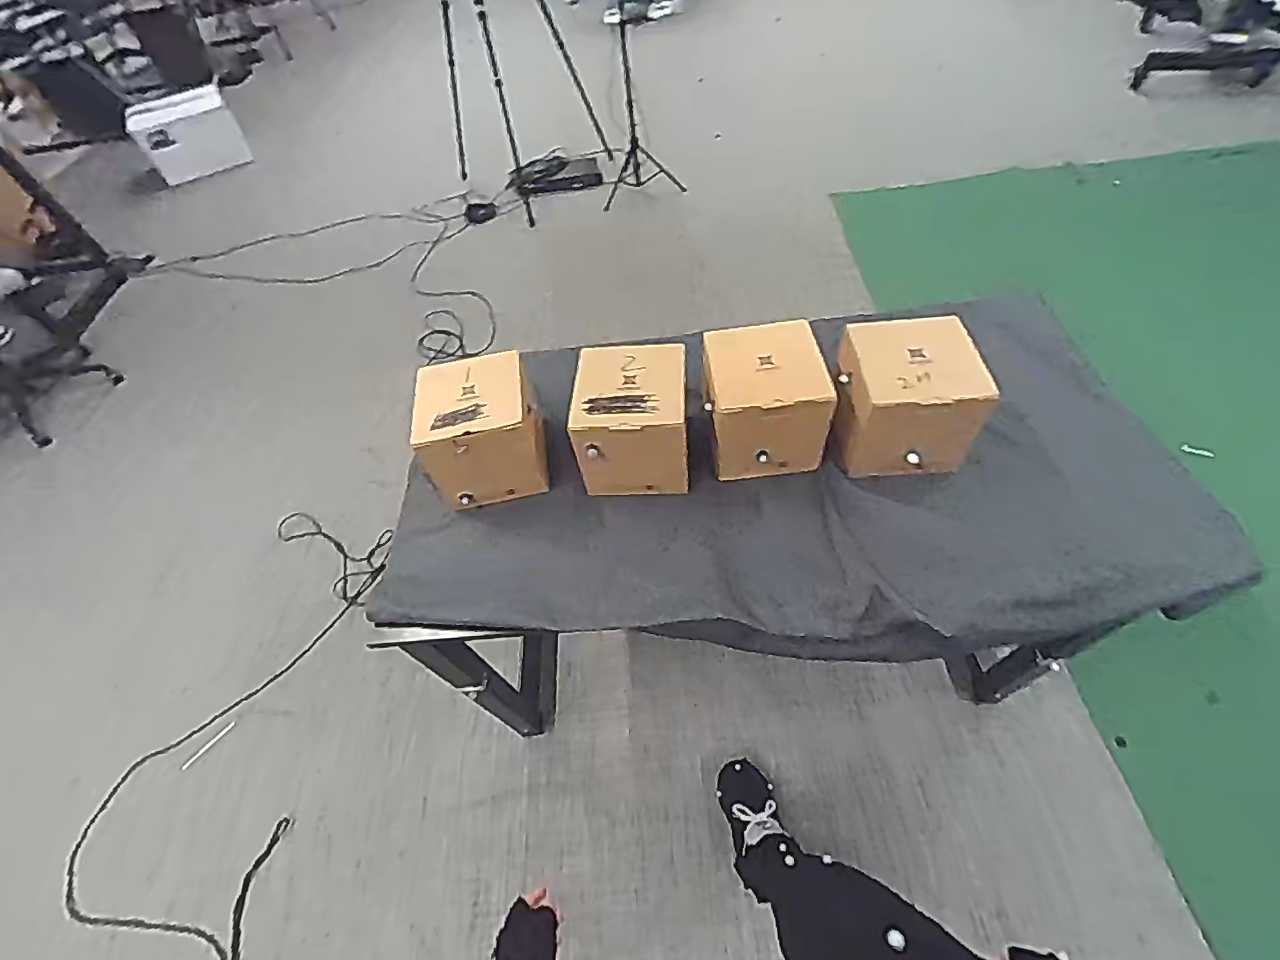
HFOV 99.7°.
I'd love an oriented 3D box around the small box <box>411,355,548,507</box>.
[{"bbox_3d":[-0.252,-0.072,0.886,0.168,0.176,0.179,-11,51,-2],"label":"small box"}]
